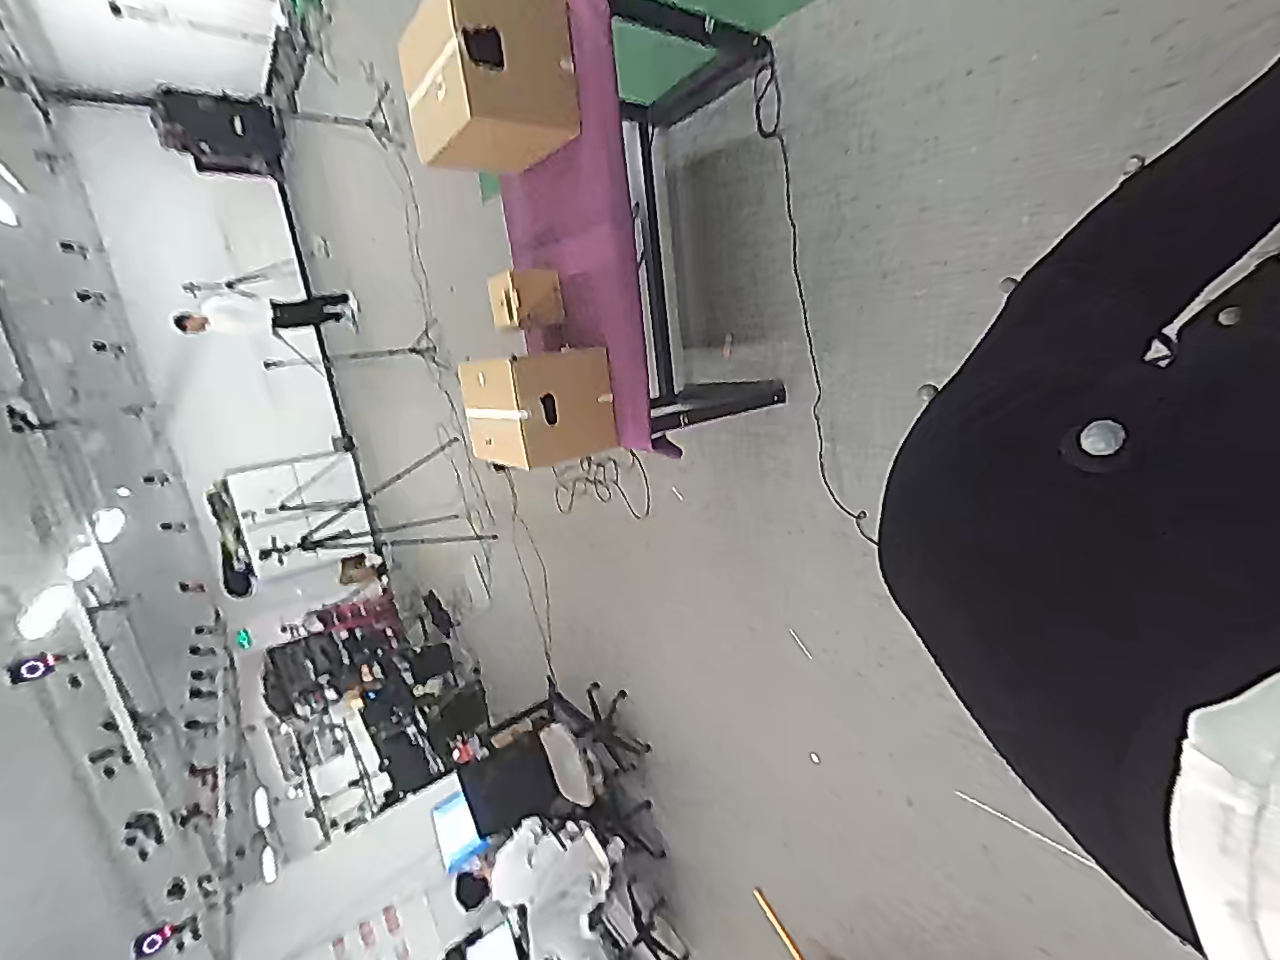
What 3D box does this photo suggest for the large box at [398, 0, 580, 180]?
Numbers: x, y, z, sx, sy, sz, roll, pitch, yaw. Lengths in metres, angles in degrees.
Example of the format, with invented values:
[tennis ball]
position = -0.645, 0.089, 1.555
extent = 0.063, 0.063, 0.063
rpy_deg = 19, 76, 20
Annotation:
[large box]
position = -0.412, -1.049, 1.464
extent = 0.408, 0.320, 0.320
rpy_deg = 12, 114, 50
